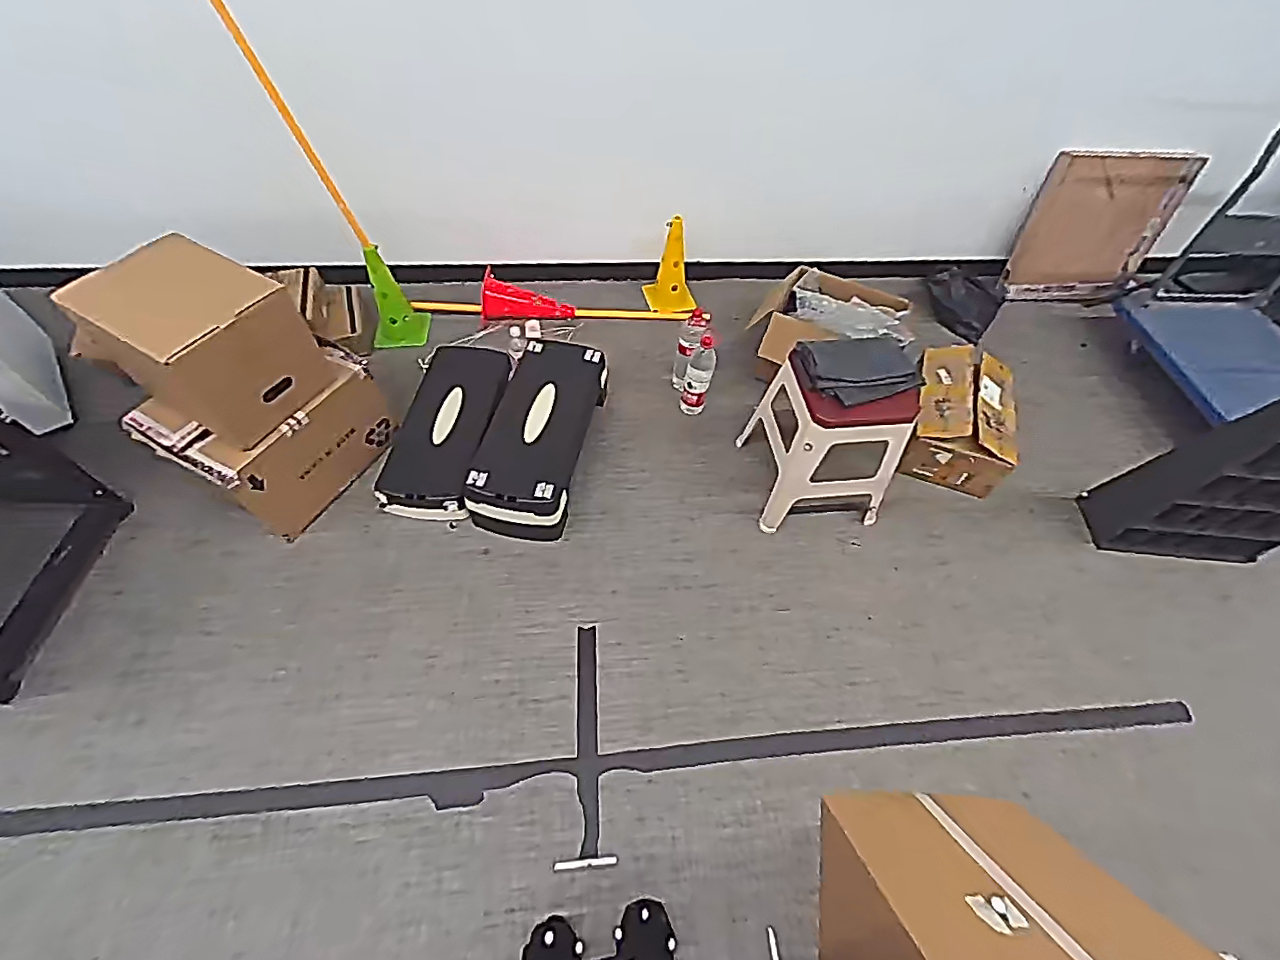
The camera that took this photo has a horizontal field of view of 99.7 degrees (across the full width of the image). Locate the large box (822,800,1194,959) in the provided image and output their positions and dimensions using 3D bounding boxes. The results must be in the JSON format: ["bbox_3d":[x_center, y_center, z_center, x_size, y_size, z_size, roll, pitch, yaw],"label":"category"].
[{"bbox_3d":[0.440,0.662,0.655,0.320,0.408,0.320,3,88,1],"label":"large box"}]
